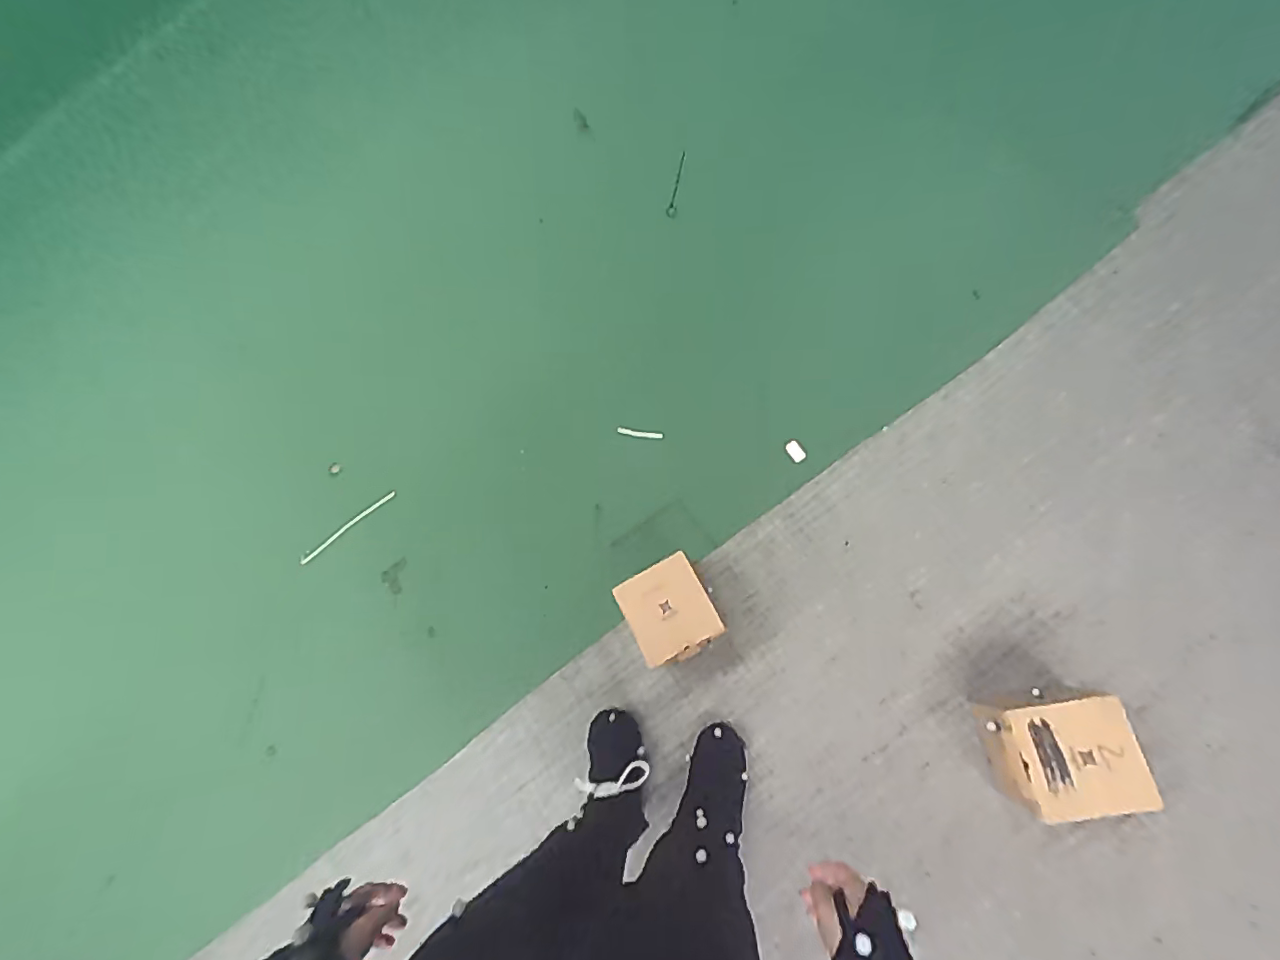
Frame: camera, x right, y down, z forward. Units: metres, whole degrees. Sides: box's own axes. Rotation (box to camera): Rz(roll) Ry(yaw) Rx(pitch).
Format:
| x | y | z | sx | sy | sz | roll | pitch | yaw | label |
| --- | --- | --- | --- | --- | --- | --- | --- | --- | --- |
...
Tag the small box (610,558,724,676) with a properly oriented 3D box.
| x | y | z | sx | sy | sz | roll | pitch | yaw | label |
| --- | --- | --- | --- | --- | --- | --- | --- | --- | --- |
| 0.065 | 0.285 | 1.124 | 0.168 | 0.176 | 0.179 | -30 | 70 | 2 | small box |
